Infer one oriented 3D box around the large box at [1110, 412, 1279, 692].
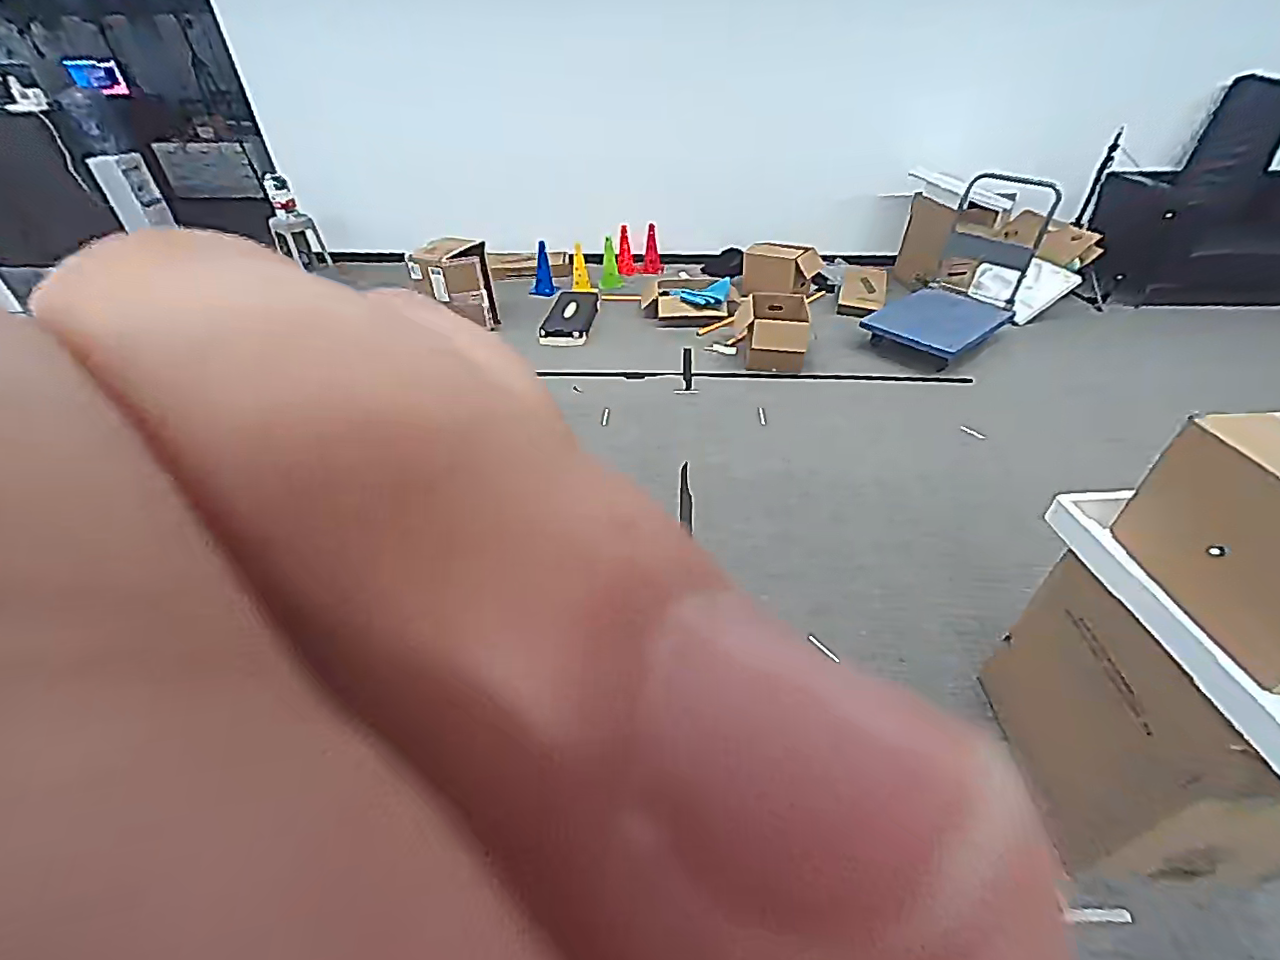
[{"bbox_3d":[1.198,0.116,0.968,0.320,0.320,0.408,-1,37,0],"label":"large box"}]
